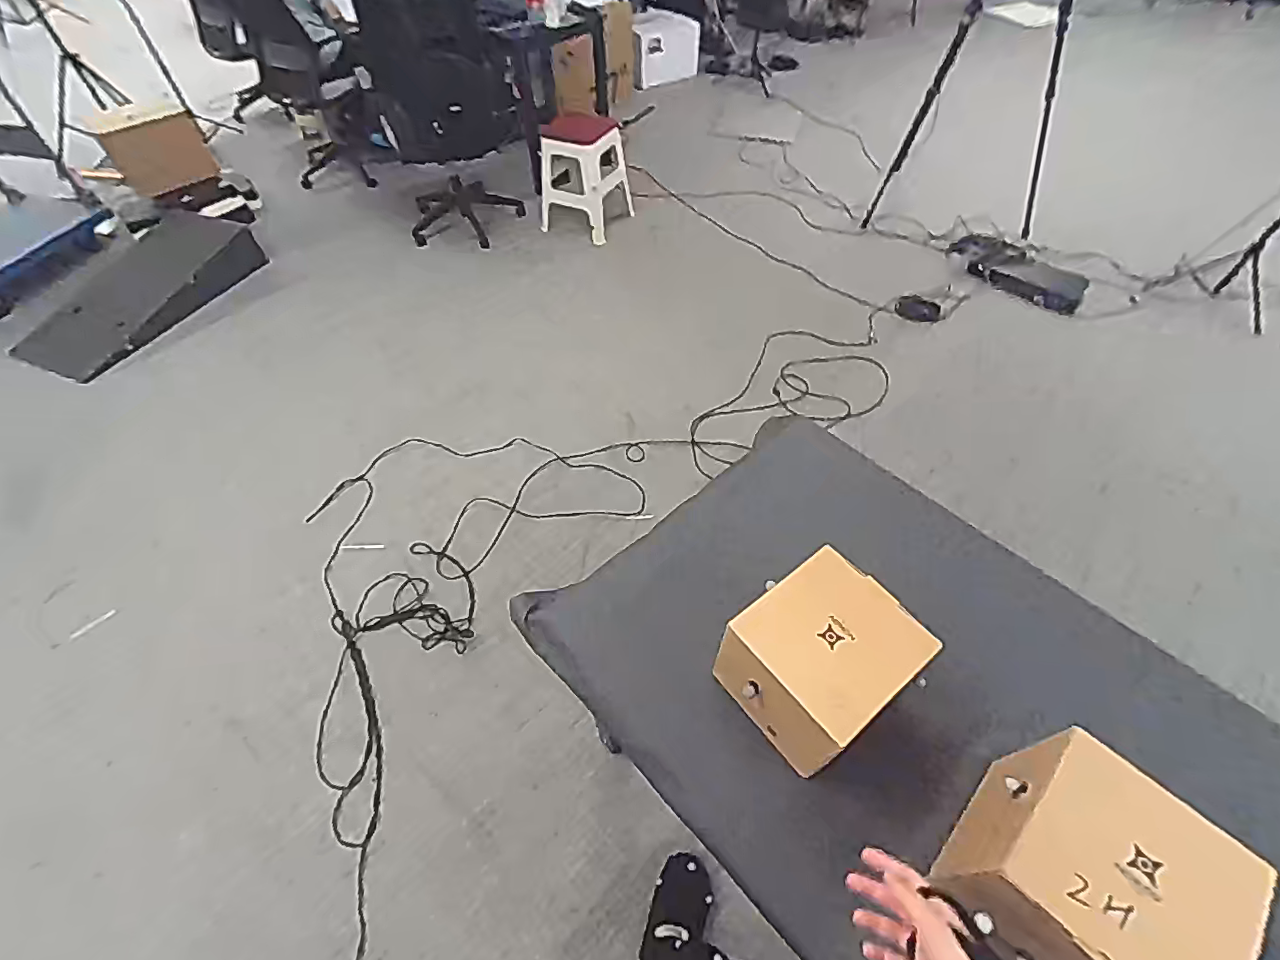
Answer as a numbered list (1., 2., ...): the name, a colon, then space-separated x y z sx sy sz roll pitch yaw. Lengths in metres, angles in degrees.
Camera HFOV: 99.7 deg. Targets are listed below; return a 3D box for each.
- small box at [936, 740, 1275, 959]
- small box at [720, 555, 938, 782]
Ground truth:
1. small box: 0.428 0.397 0.525 0.179 0.176 0.168 -36 59 -25
2. small box: 0.214 0.233 0.662 0.179 0.176 0.168 -31 57 -23
